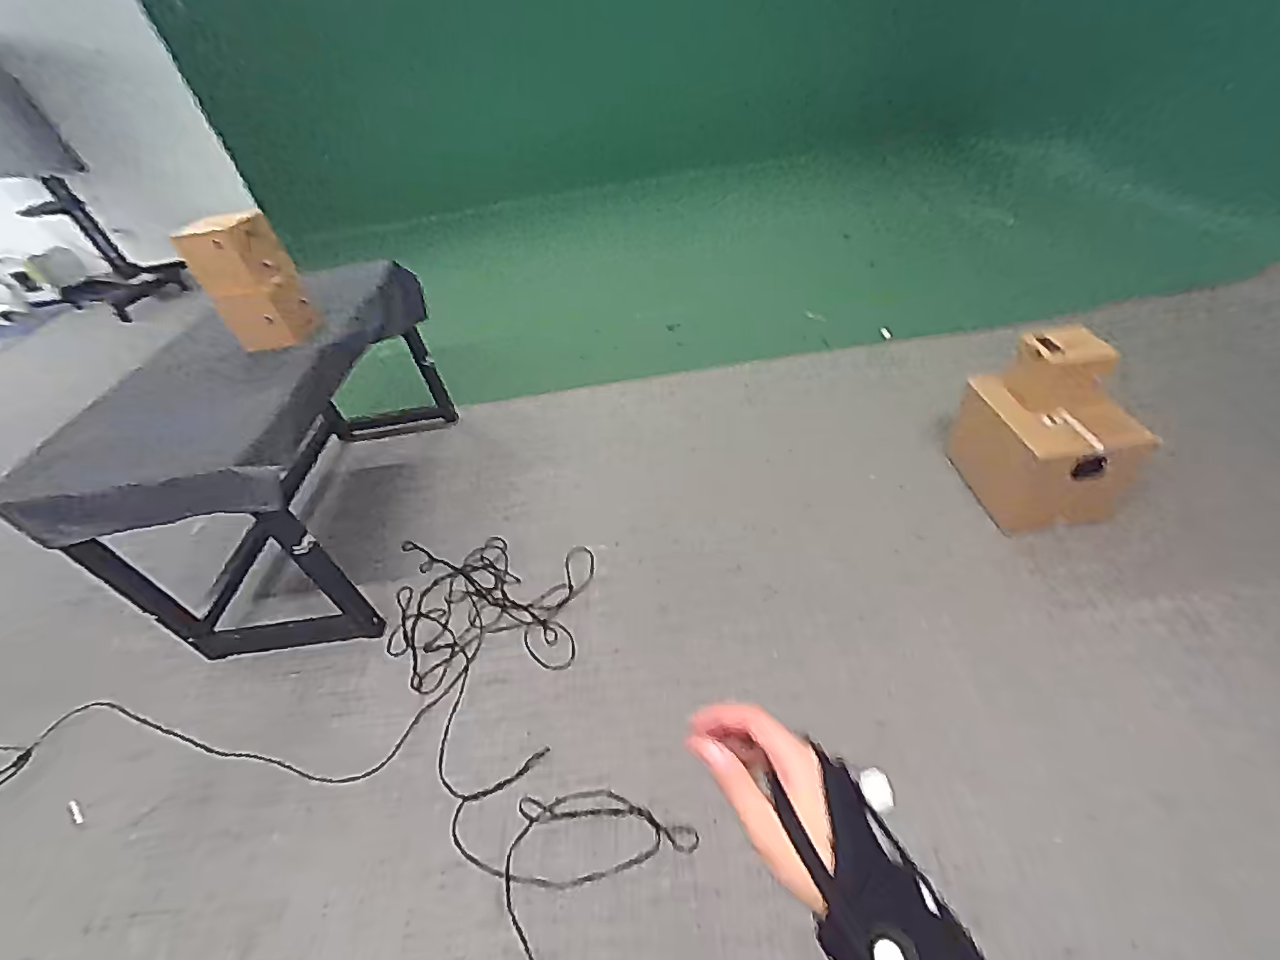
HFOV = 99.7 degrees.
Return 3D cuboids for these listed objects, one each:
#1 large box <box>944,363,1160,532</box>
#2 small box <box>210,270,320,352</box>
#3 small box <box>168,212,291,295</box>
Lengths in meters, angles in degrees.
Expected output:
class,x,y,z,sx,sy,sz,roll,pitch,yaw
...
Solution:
class,x,y,z,sx,sy,sz,roll,pitch,yaw
large box,1.209,-0.103,1.655,0.320,0.320,0.408,-9,44,4
small box,-1.102,-0.500,1.610,0.179,0.176,0.168,-7,41,7
small box,-1.141,-0.632,1.519,0.179,0.176,0.168,-3,42,10
